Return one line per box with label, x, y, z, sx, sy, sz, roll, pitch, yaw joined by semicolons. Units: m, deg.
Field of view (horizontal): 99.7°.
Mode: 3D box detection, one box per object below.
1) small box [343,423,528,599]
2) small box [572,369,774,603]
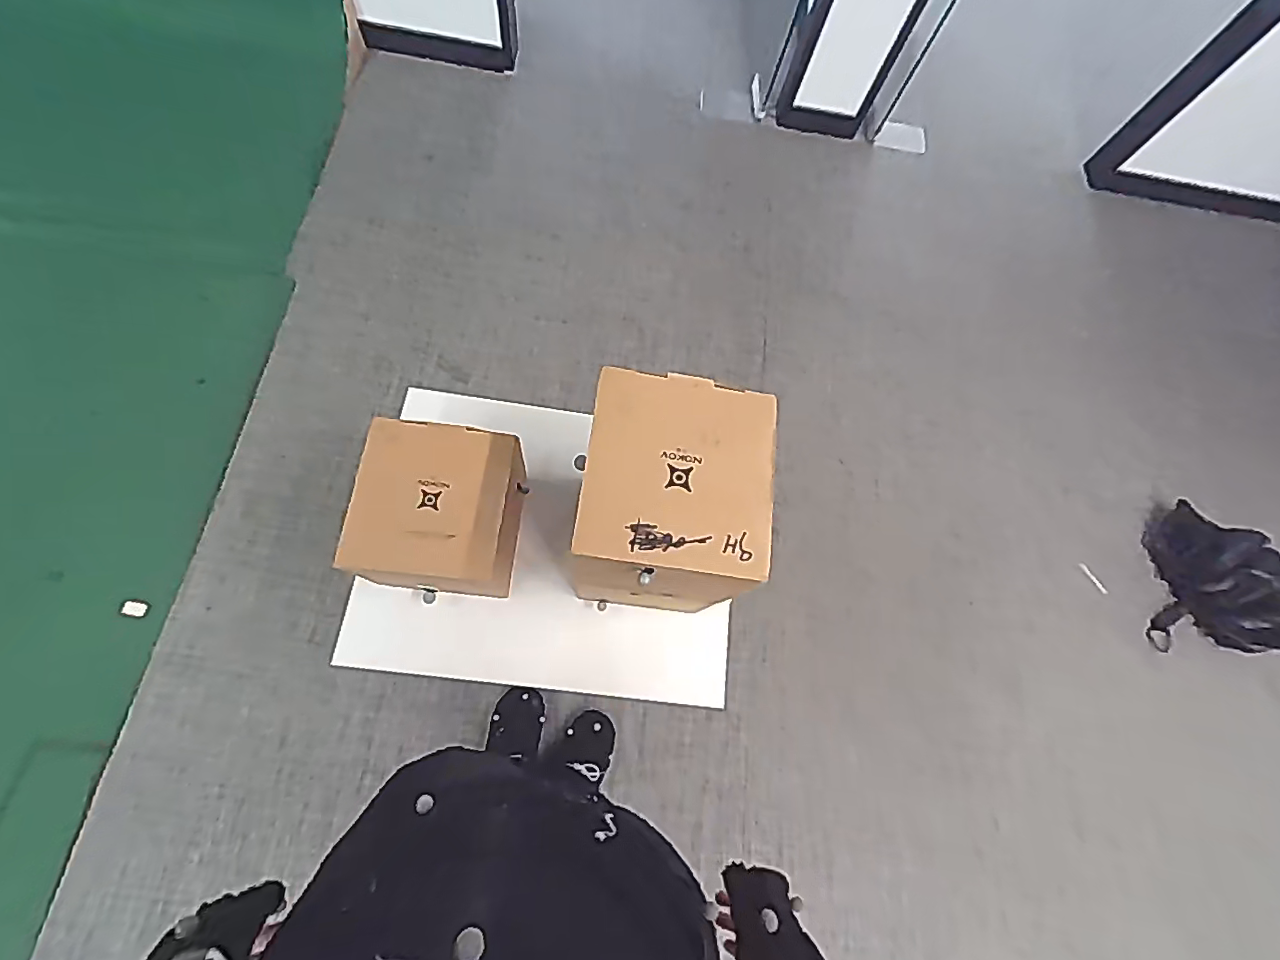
small box;-0.237;0.048;0.679;0.168;0.176;0.179;5;72;-4
small box;0.025;0.017;0.542;0.168;0.176;0.179;8;70;-3
